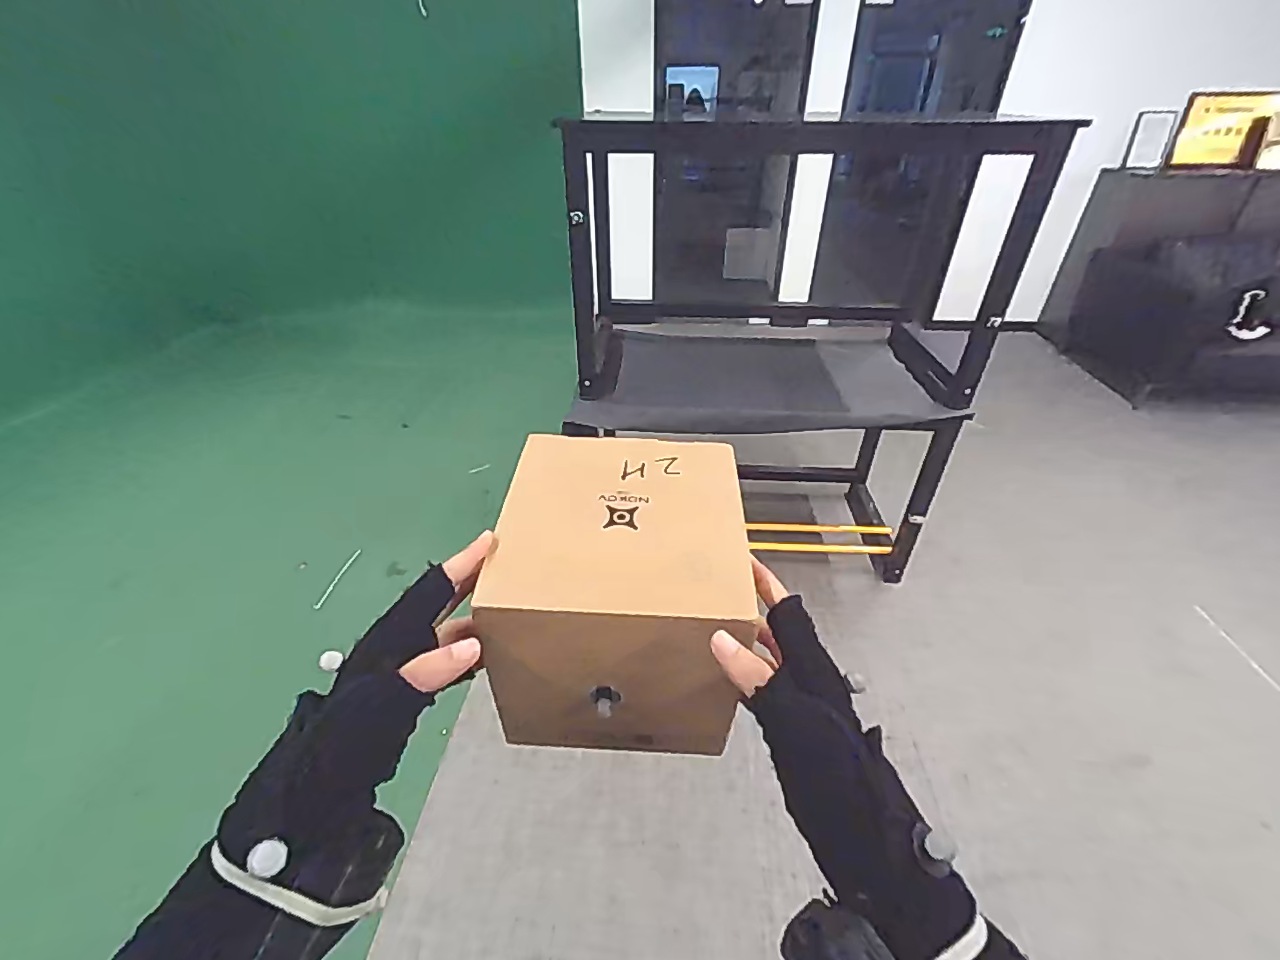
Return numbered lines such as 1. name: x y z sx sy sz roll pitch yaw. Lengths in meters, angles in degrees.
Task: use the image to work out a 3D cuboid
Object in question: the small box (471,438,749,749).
1. small box: -0.014 0.087 0.424 0.168 0.176 0.179 3 38 1
